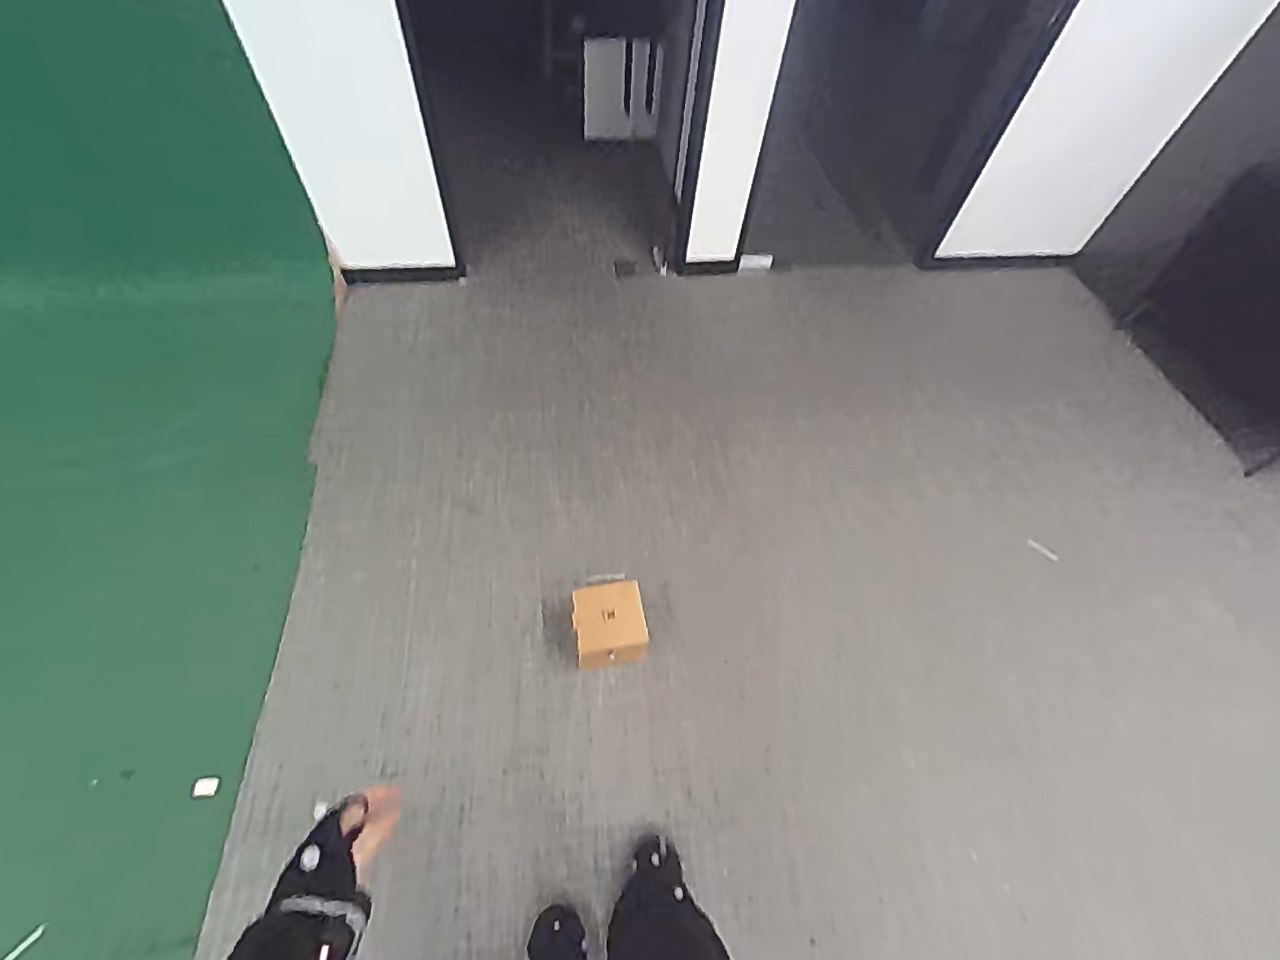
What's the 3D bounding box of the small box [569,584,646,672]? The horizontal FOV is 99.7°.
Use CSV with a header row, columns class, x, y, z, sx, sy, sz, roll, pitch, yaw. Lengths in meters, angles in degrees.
class,x,y,z,sx,sy,sz,roll,pitch,yaw
small box,-0.089,0.389,1.413,0.179,0.176,0.168,-7,57,-9
